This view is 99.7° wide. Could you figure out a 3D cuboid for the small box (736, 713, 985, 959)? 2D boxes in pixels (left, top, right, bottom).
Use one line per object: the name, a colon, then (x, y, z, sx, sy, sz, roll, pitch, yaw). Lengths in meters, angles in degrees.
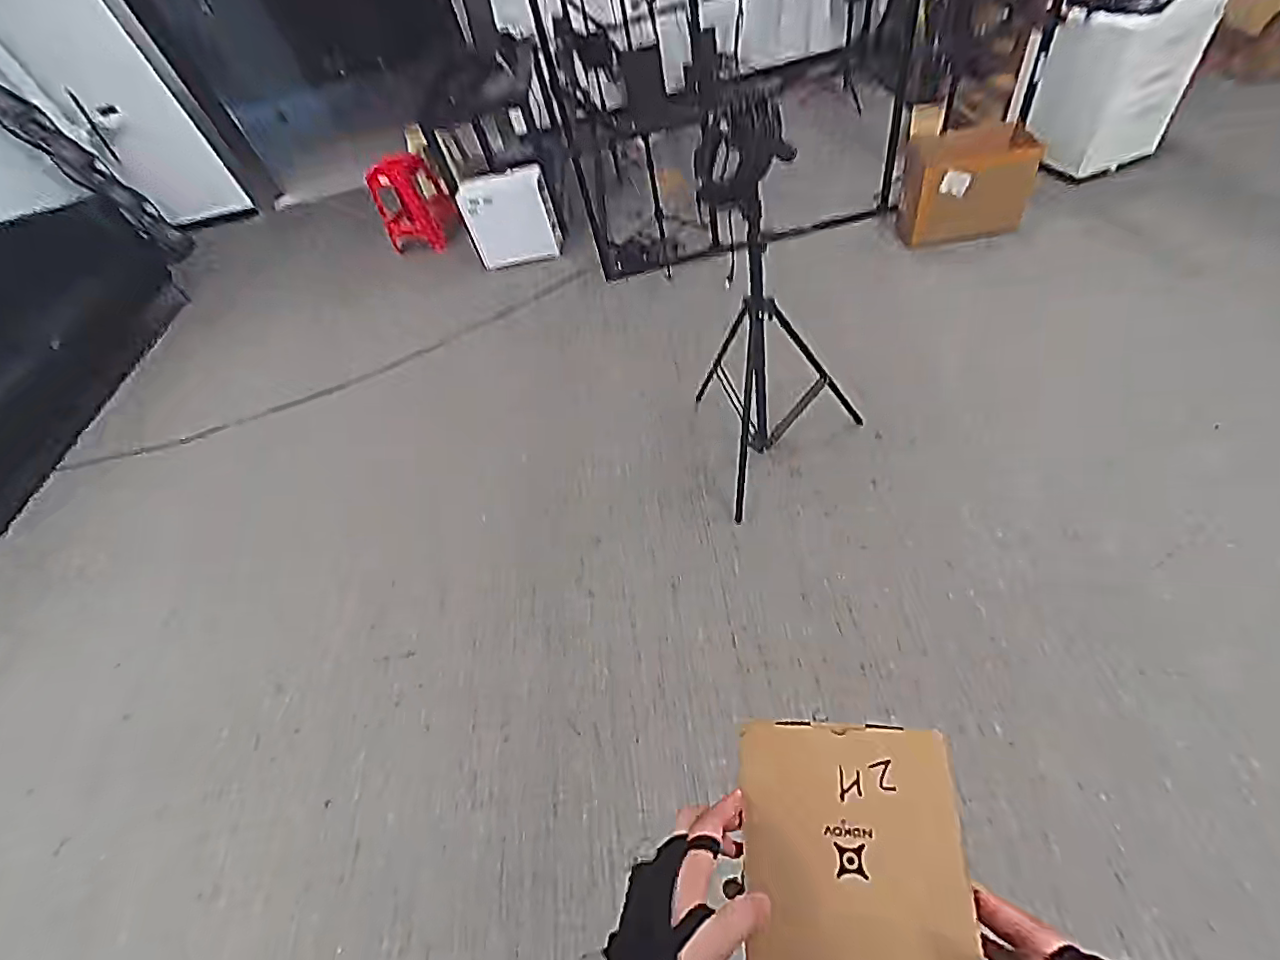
small box: (0.172, 0.305, 0.476, 0.168, 0.176, 0.179, -2, 64, 10)
